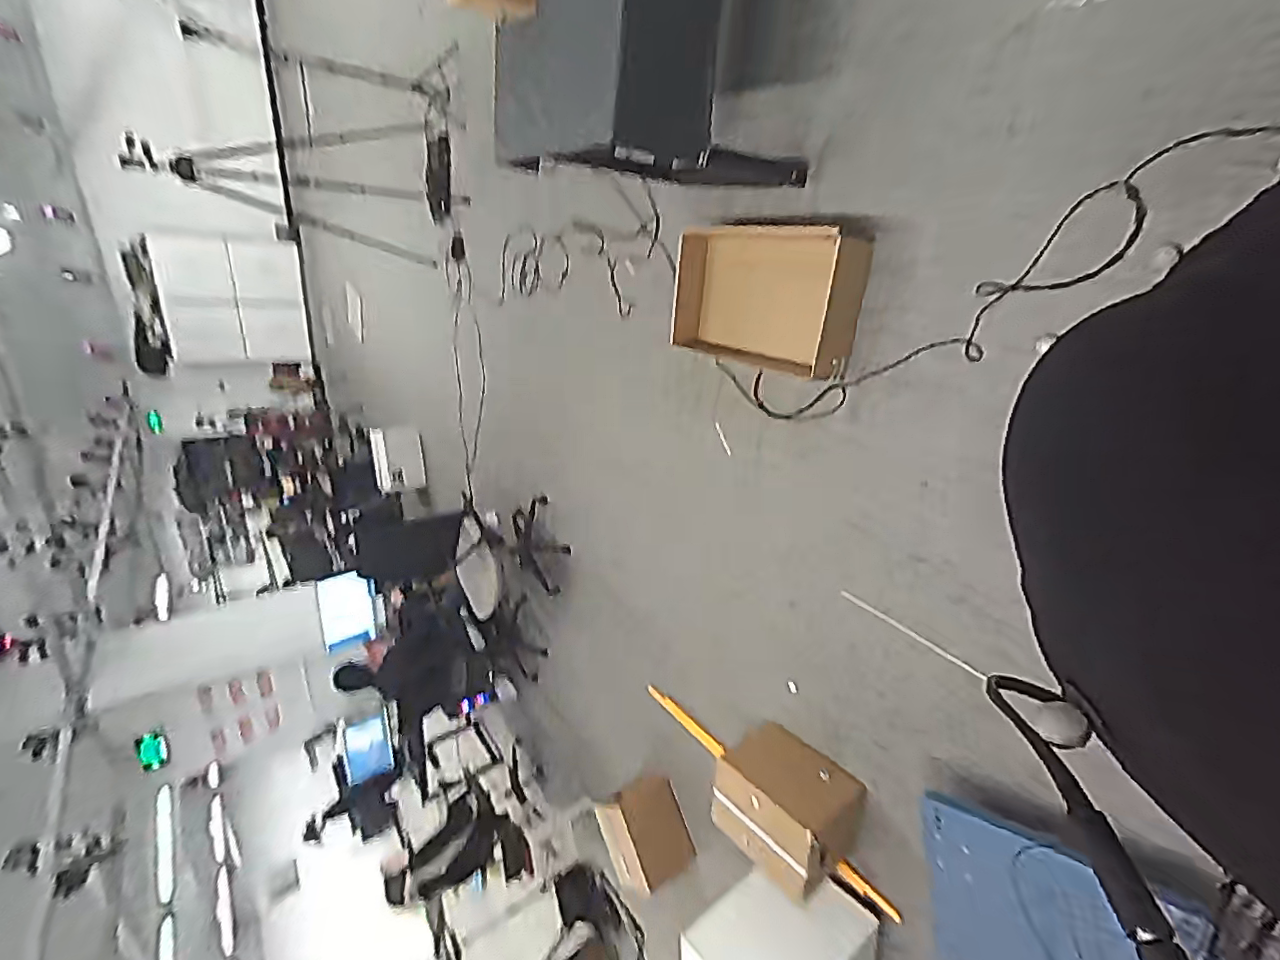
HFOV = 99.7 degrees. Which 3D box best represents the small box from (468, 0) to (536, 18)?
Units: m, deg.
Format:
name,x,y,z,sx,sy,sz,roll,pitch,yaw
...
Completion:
name,x,y,z,sx,sy,sz,roll,pitch,yaw
small box,-0.351,-1.250,1.289,0.168,0.176,0.179,35,125,42
